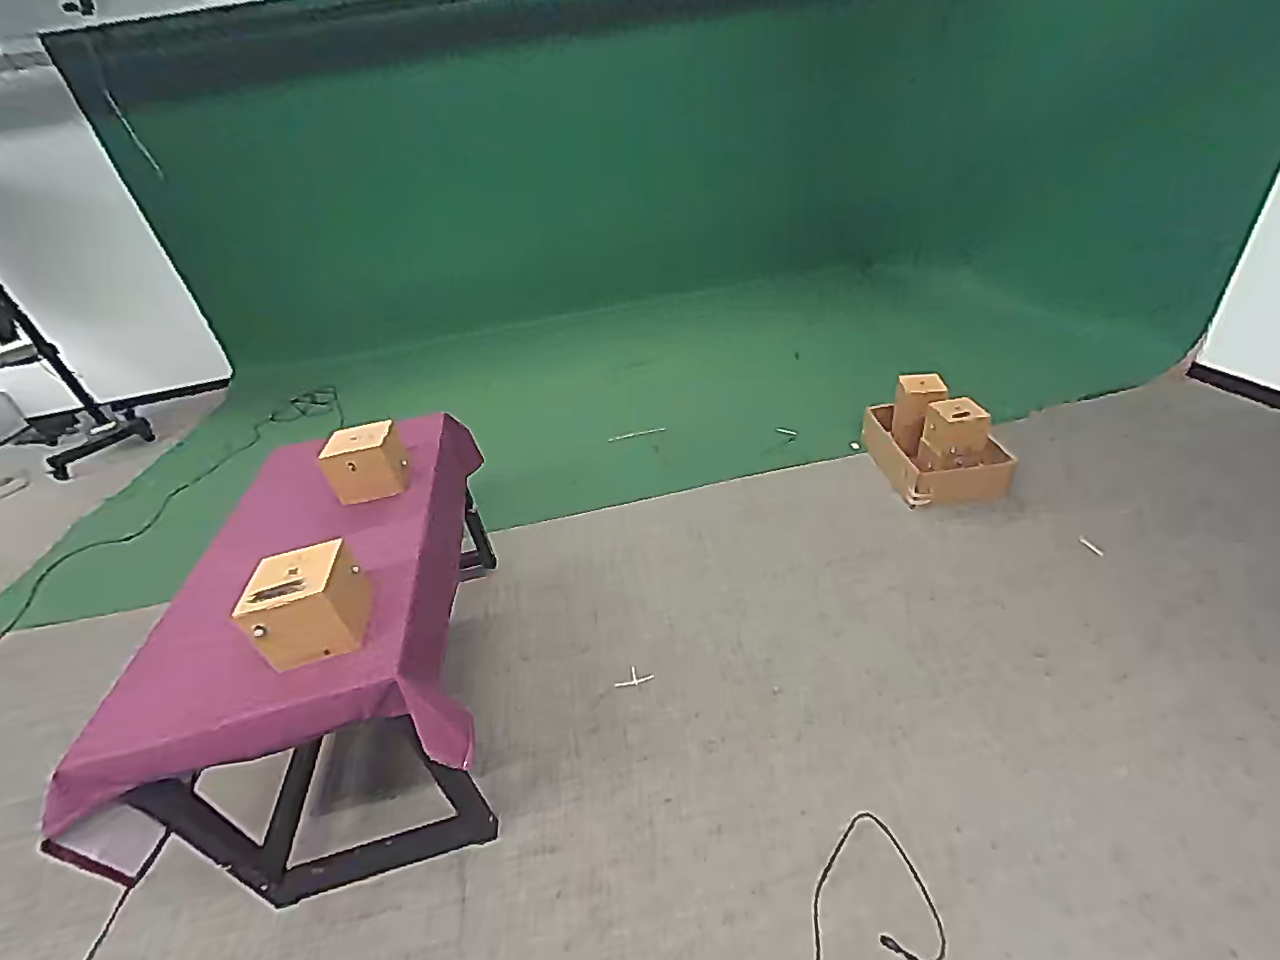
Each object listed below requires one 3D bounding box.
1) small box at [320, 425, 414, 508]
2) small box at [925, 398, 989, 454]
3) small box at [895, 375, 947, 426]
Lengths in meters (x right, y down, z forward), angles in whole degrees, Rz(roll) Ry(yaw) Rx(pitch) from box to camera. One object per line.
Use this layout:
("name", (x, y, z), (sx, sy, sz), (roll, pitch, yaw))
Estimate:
("small box", (-0.795, -0.036, 1.594), (0.179, 0.176, 0.168), (-13, 34, -4))
("small box", (1.306, -0.216, 2.238), (0.168, 0.176, 0.179), (-9, 32, 3))
("small box", (1.274, -0.364, 2.464), (0.168, 0.176, 0.179), (-2, 36, 12))
